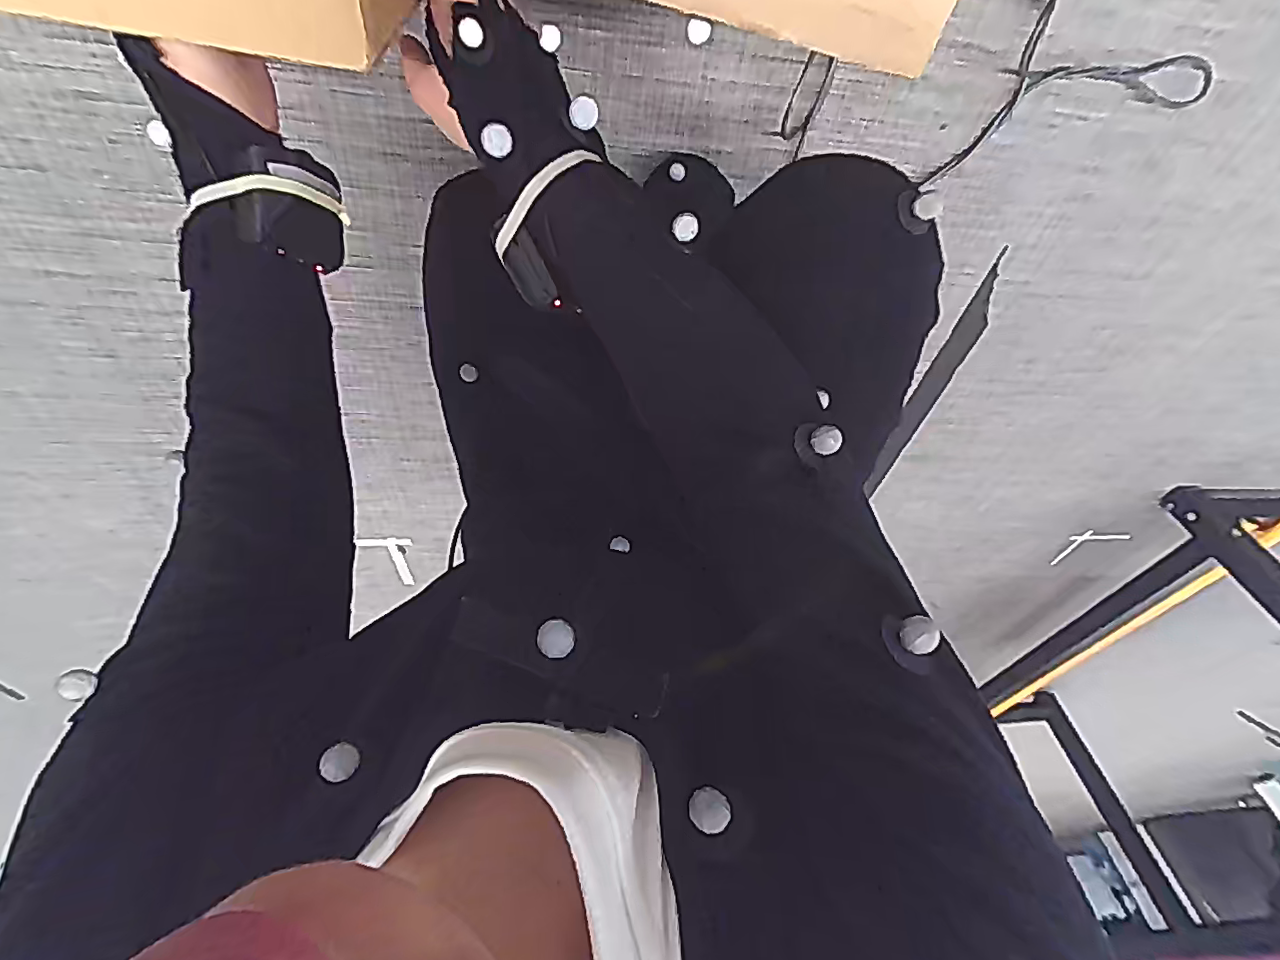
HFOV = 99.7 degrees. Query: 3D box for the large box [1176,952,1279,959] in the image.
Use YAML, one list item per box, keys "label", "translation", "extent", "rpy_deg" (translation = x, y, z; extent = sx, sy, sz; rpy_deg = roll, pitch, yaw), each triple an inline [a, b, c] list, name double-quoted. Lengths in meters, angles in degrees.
- label: "large box"
  translation: [1.288, 1.302, 1.211]
  extent: [0.408, 0.320, 0.320]
  rpy_deg: [-1, 137, -10]
